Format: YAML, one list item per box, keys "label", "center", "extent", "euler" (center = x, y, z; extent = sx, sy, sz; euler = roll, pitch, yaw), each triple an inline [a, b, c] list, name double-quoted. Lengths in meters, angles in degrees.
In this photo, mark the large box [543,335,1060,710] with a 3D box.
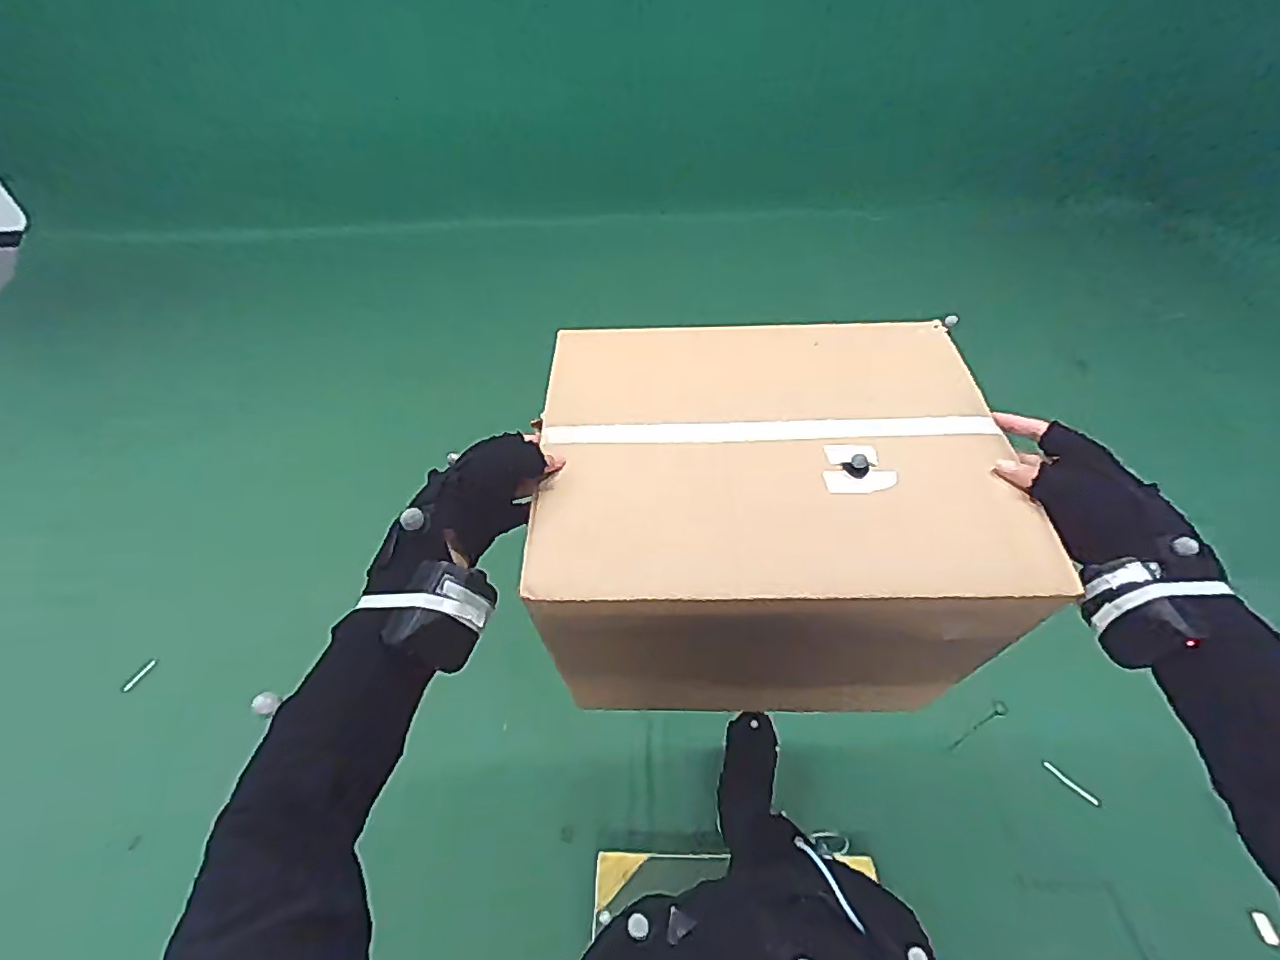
- label: "large box"
  center: [0.122, 0.058, 0.617]
  extent: [0.408, 0.320, 0.320]
  euler: [-1, 53, 1]
